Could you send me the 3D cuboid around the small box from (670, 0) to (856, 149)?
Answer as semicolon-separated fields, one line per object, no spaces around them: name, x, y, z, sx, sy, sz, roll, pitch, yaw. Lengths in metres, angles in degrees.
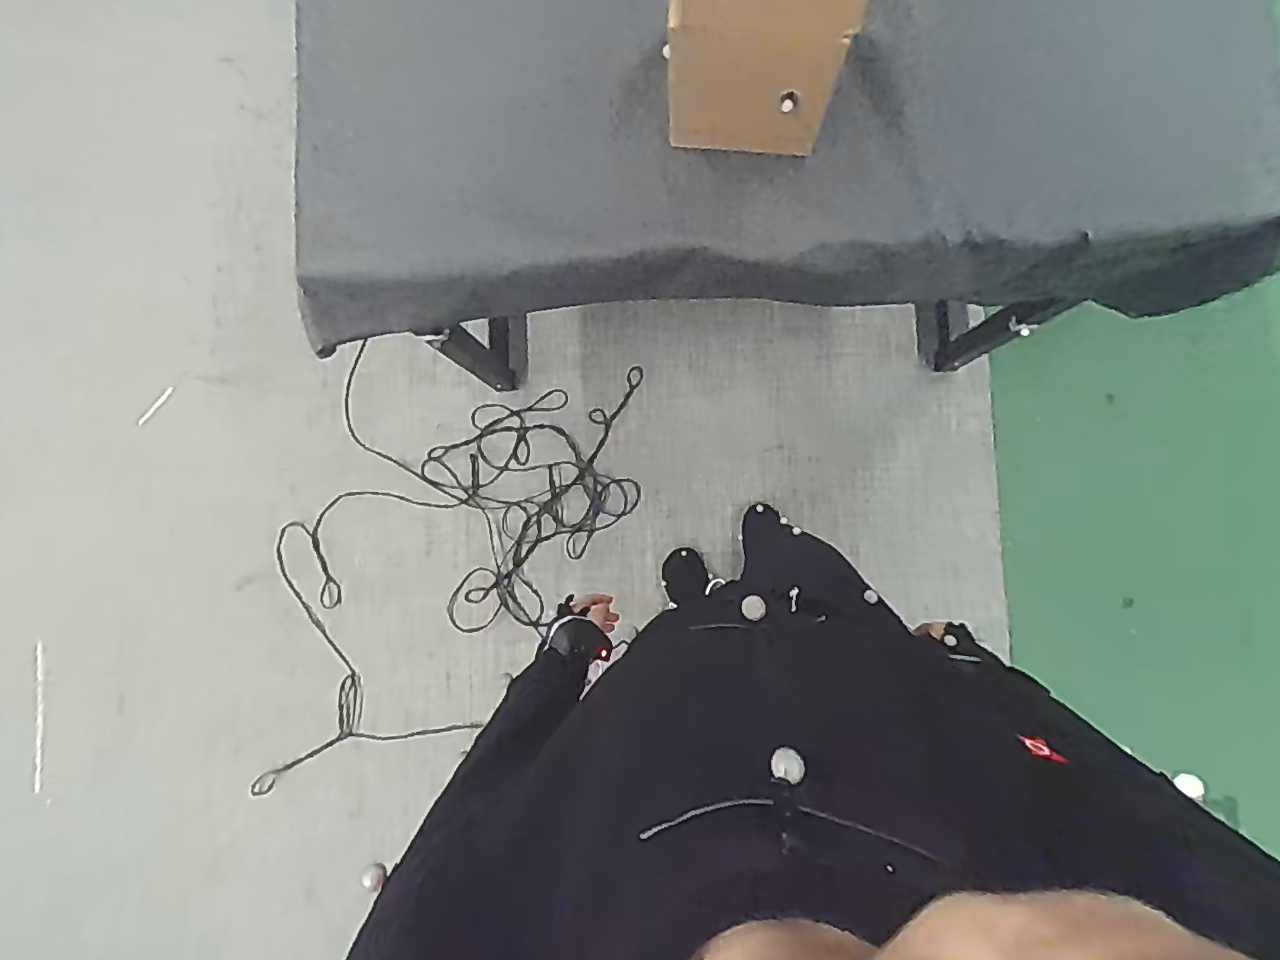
small box;0.129;-0.498;0.596;0.179;0.176;0.168;6;85;5

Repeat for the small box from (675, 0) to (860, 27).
small box;0.119;-0.514;0.434;0.179;0.176;0.168;6;86;3
